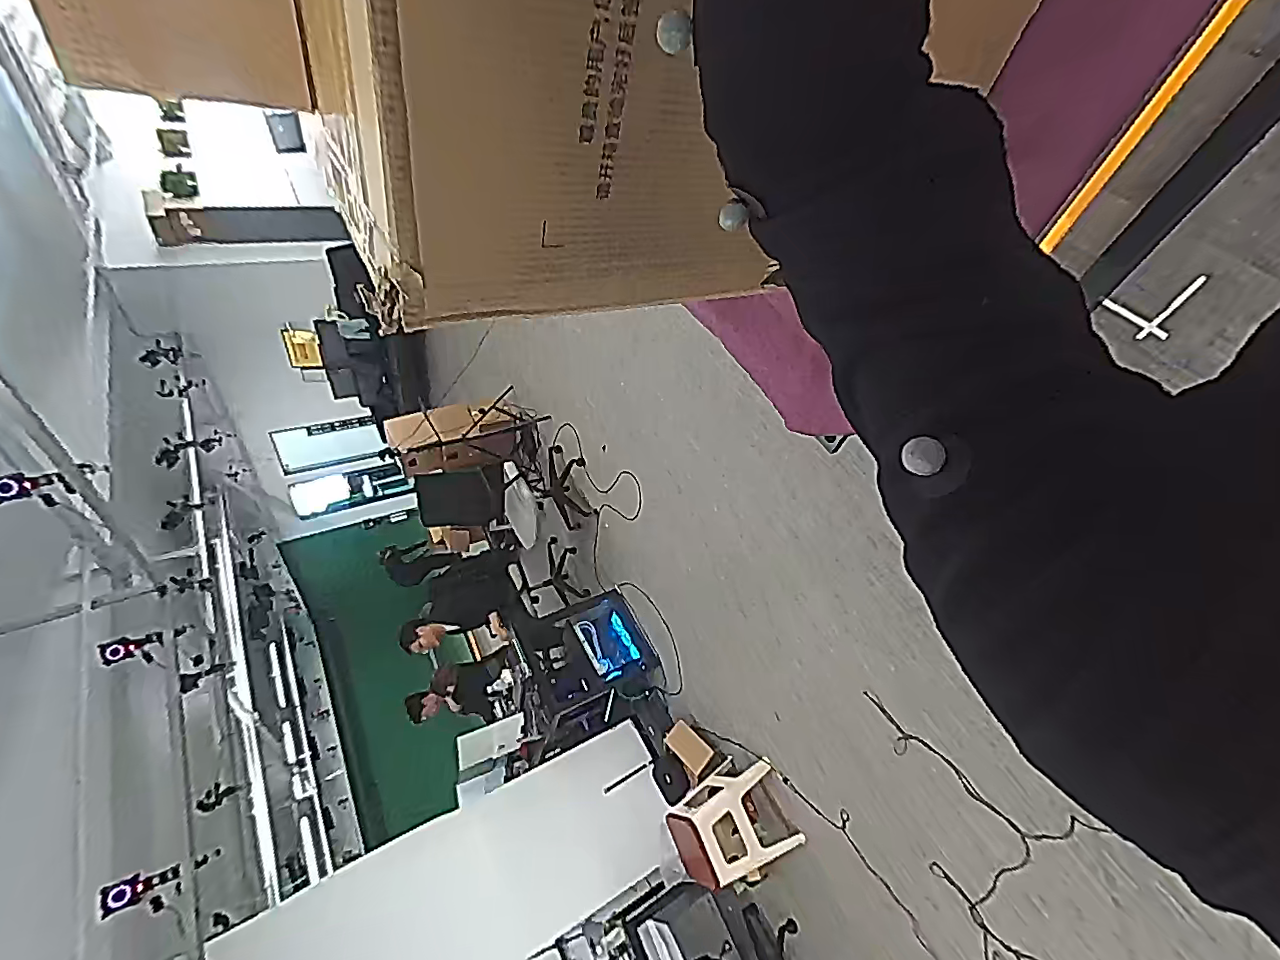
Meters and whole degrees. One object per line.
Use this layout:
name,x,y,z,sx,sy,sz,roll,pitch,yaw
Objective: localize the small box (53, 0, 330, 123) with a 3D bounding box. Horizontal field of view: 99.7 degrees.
small box,-0.370,-0.422,0.434,0.168,0.176,0.179,56,146,31
